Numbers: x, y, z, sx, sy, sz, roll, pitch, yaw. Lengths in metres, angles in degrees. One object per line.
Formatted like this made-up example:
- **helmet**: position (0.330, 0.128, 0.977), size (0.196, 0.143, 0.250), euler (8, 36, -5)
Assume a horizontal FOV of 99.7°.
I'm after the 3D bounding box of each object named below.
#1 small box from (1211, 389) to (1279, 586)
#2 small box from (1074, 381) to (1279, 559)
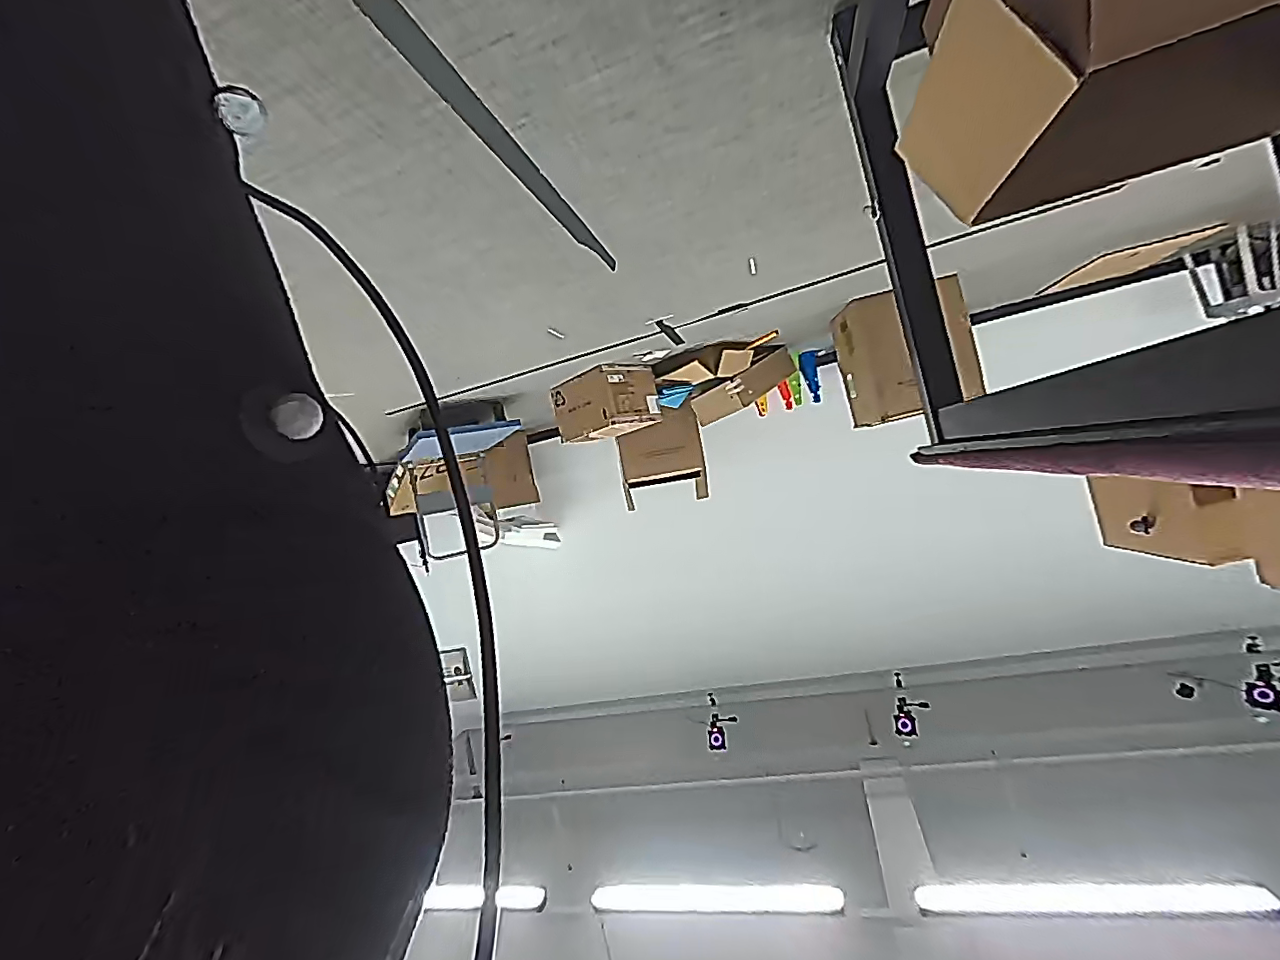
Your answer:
- **small box**: position (0.616, -0.004, 0.414), size (0.179, 0.176, 0.168), euler (-13, 179, 12)
- **small box**: position (0.668, -0.015, 0.650), size (0.168, 0.176, 0.179), euler (-14, 178, 10)
